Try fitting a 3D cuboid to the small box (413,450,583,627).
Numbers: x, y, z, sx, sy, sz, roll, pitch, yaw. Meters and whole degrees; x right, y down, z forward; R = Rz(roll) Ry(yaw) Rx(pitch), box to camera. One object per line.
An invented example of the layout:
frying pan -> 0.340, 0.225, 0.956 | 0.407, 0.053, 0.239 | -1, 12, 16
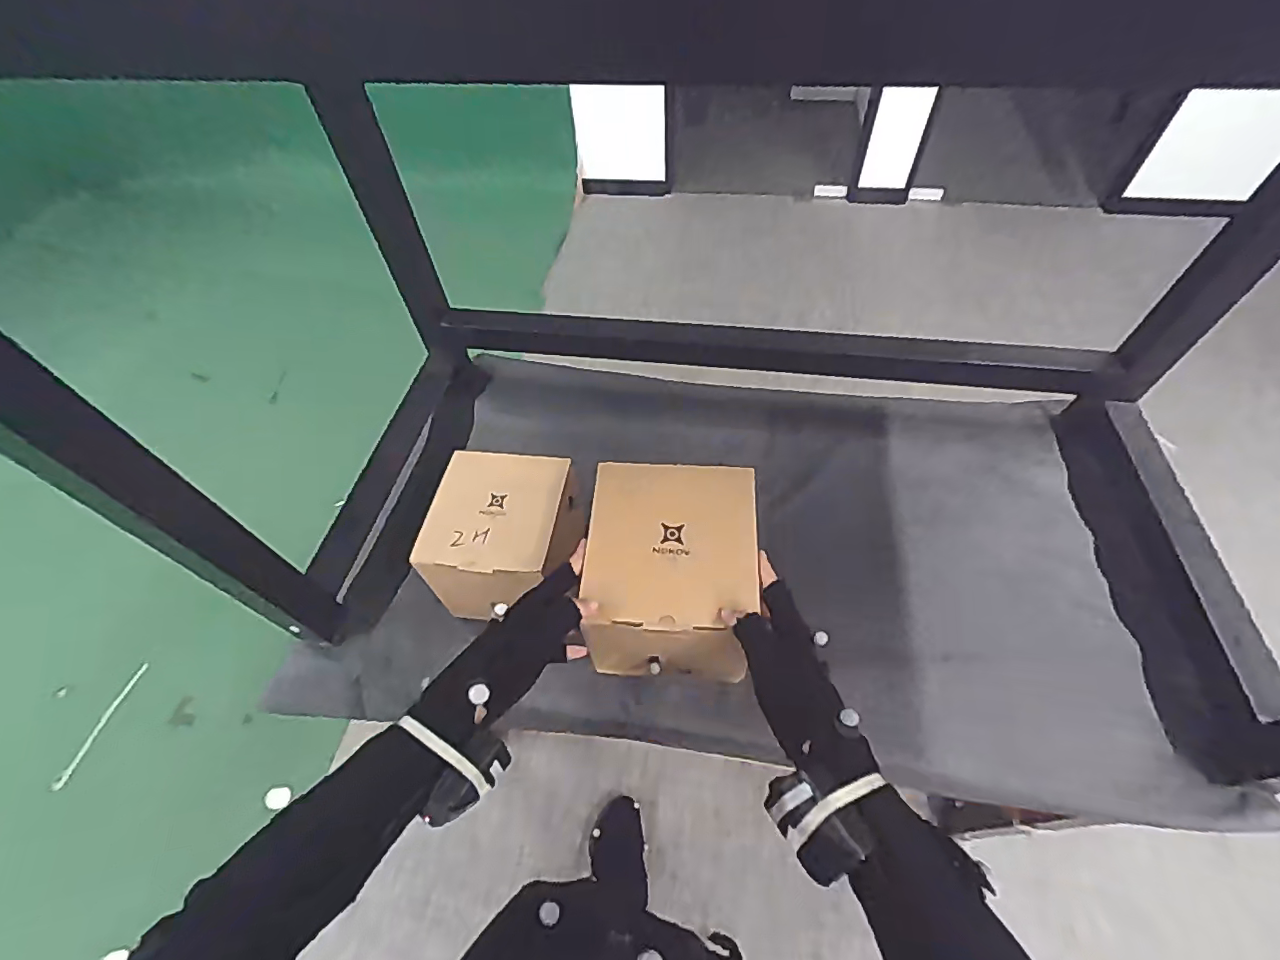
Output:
small box -> -0.180, 0.083, 0.751 | 0.168, 0.176, 0.179 | 4, 54, 7
